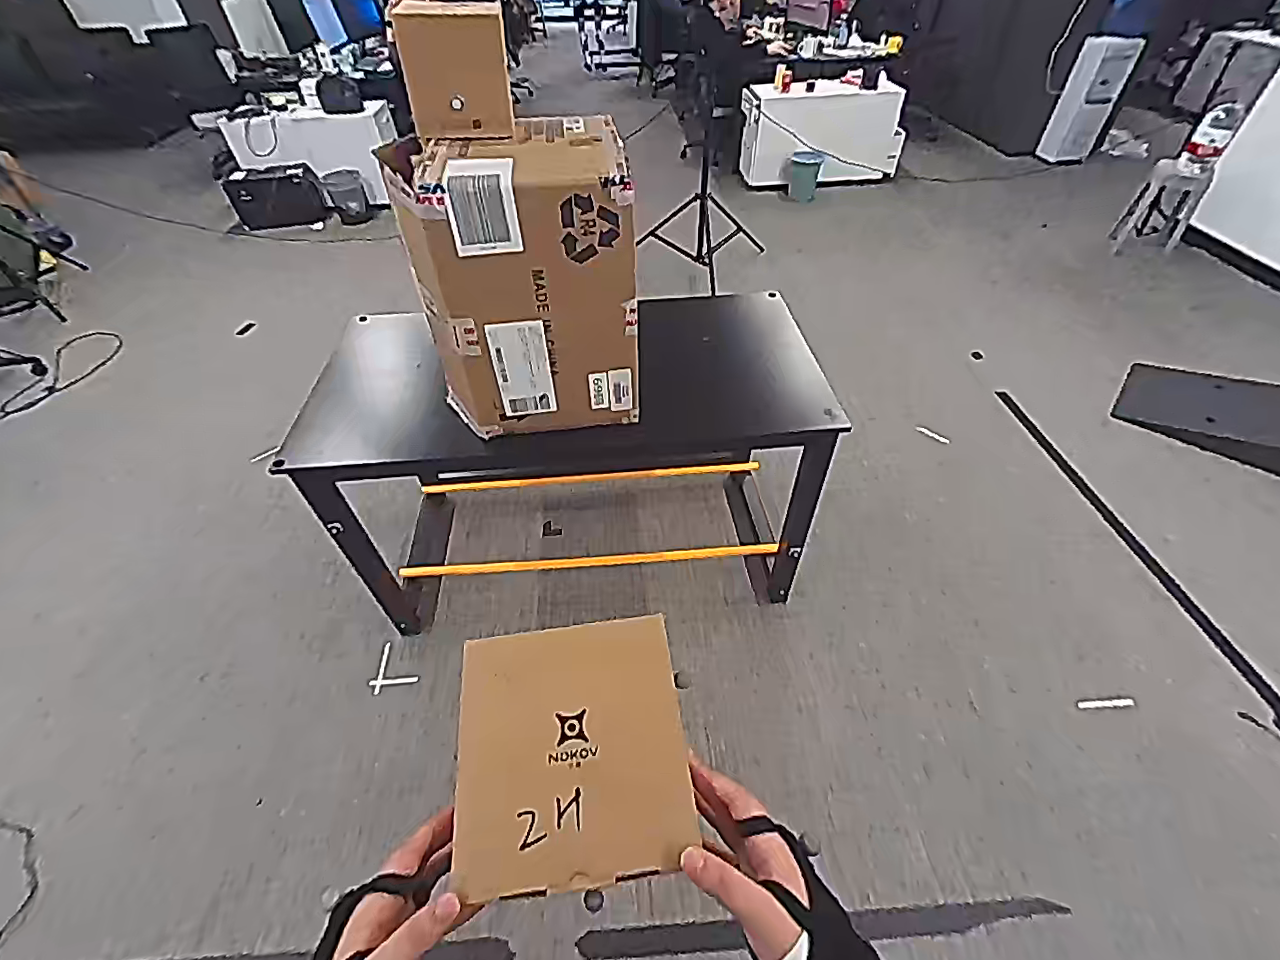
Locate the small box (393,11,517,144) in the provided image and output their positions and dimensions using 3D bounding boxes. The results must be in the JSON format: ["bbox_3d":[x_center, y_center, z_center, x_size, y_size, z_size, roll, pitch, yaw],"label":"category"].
[{"bbox_3d":[-0.311,-0.703,0.945,0.168,0.176,0.179,-6,44,-8],"label":"small box"}]

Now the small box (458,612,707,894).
[{"bbox_3d":[-0.045,0.236,0.464,0.168,0.176,0.179,-7,54,-4],"label":"small box"}]
